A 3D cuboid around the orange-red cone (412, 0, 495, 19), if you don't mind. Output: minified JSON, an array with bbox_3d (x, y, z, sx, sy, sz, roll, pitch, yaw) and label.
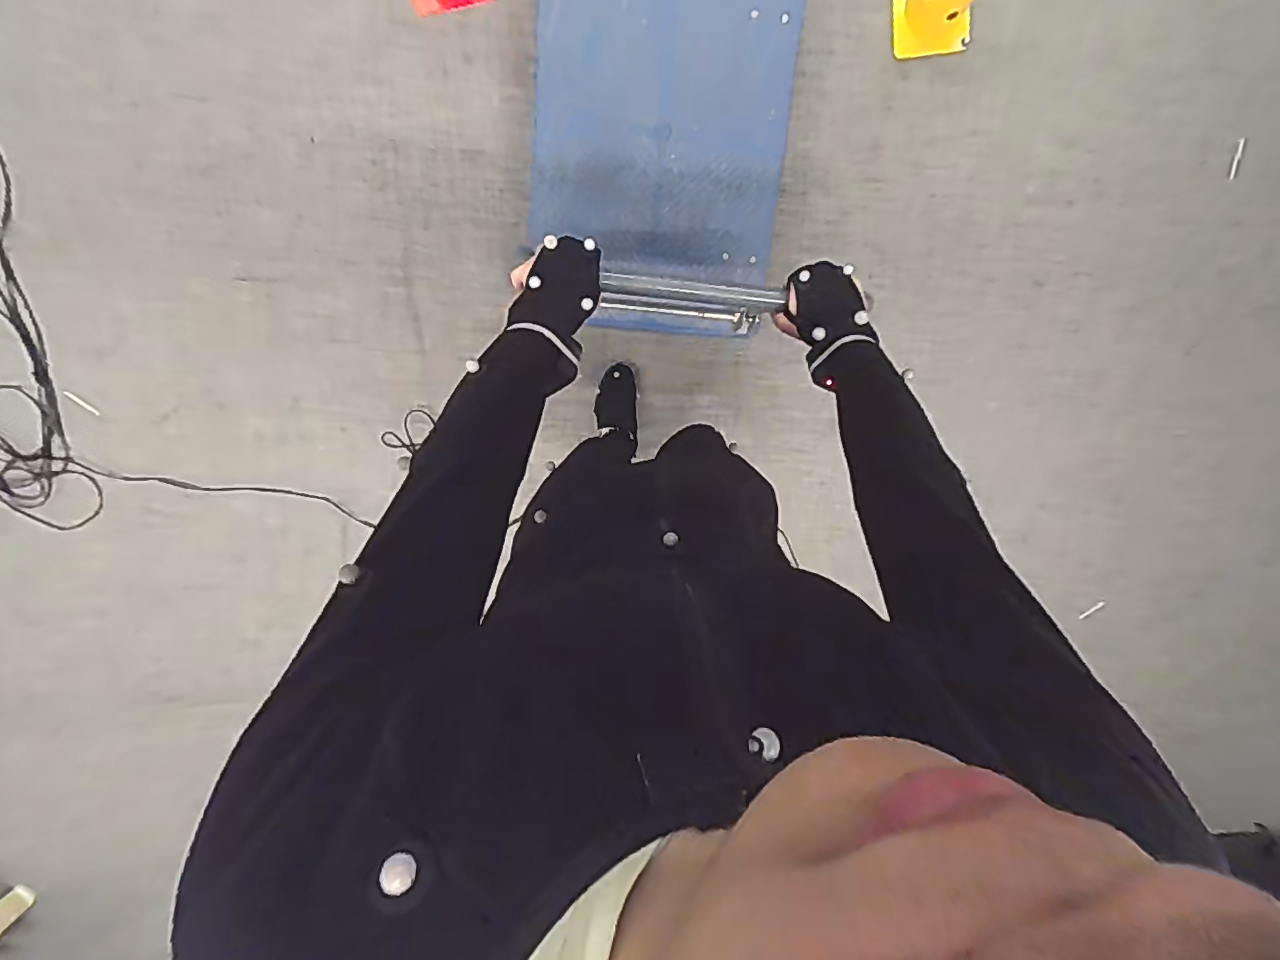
[{"bbox_3d":[-0.438,-1.152,1.087,0.199,0.360,0.198,-13,105,0],"label":"orange-red cone"}]
